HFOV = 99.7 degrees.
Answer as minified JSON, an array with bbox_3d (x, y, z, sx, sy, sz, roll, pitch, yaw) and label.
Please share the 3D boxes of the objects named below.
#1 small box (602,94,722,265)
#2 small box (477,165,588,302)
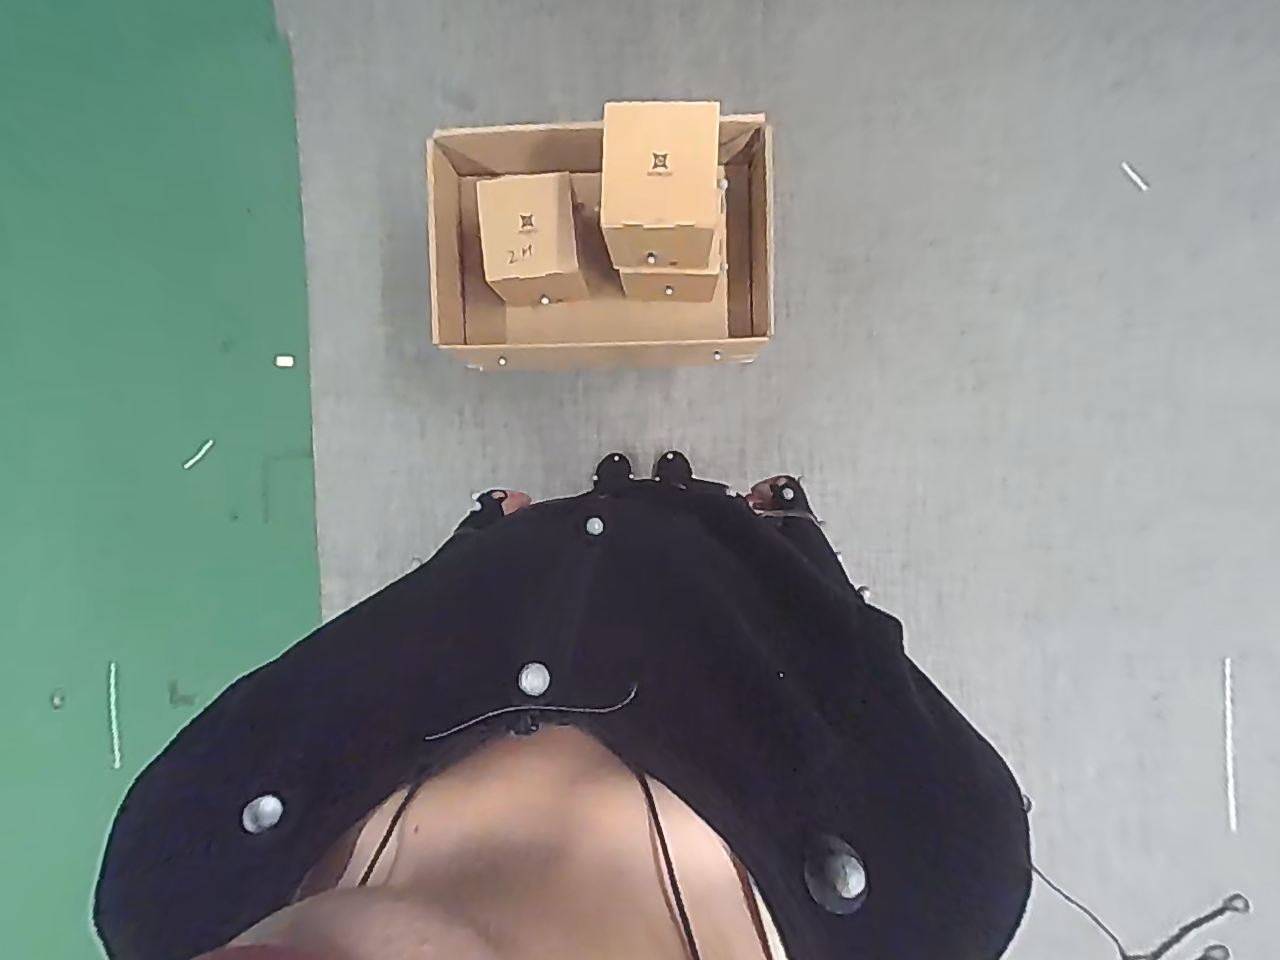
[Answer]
[{"bbox_3d":[0.033,-0.454,0.838,0.168,0.176,0.179,2,92,3],"label":"small box"},{"bbox_3d":[-0.192,-0.450,1.008,0.168,0.176,0.179,-5,92,2],"label":"small box"}]
